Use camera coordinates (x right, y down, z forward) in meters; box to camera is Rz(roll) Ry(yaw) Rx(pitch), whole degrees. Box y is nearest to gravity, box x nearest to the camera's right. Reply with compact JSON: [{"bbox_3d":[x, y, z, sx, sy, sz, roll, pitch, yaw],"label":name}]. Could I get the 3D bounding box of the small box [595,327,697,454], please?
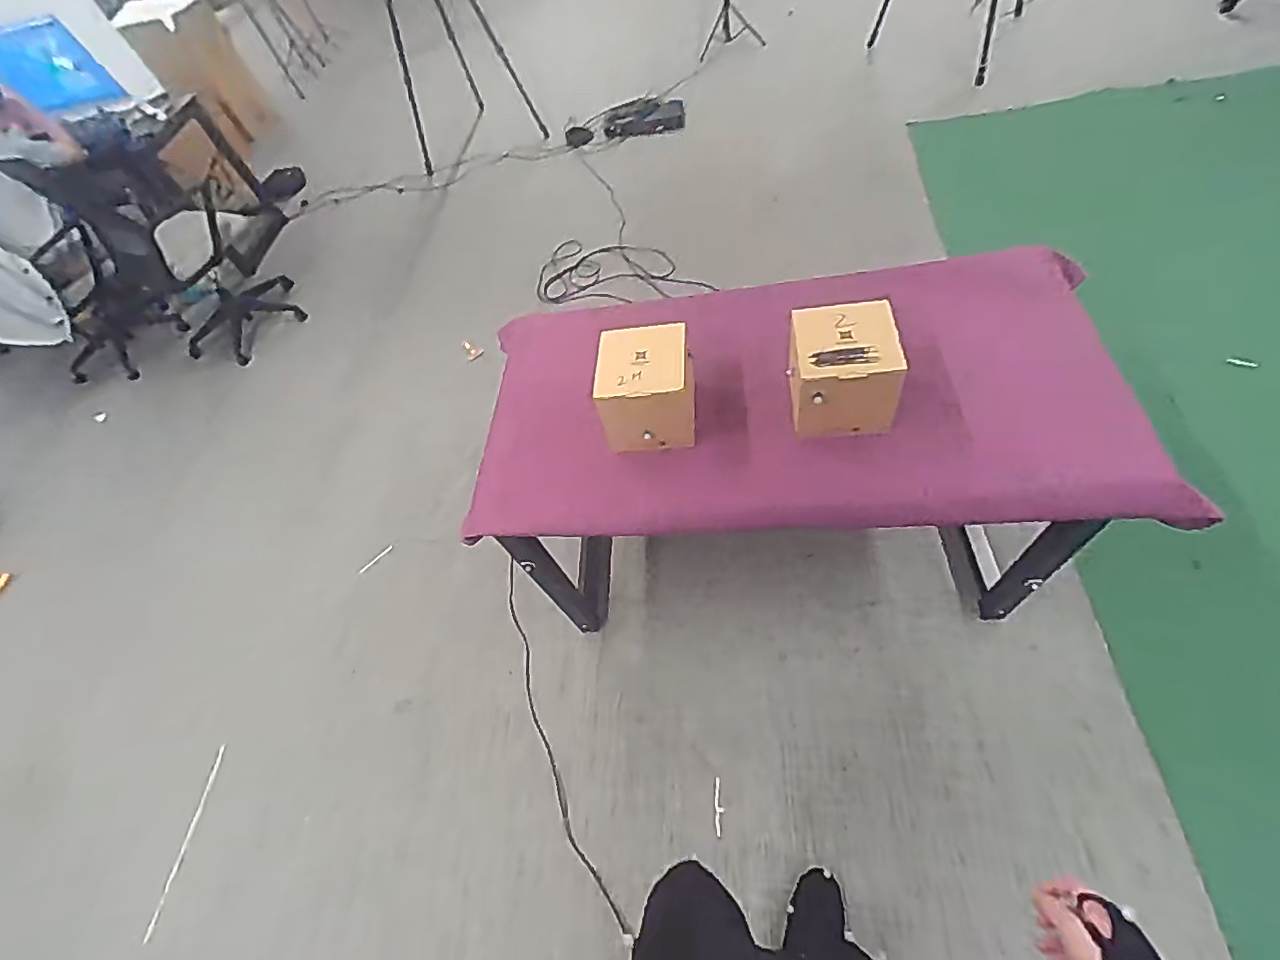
[{"bbox_3d":[0.020,-0.170,1.049,0.168,0.176,0.179,-2,57,11],"label":"small box"}]
